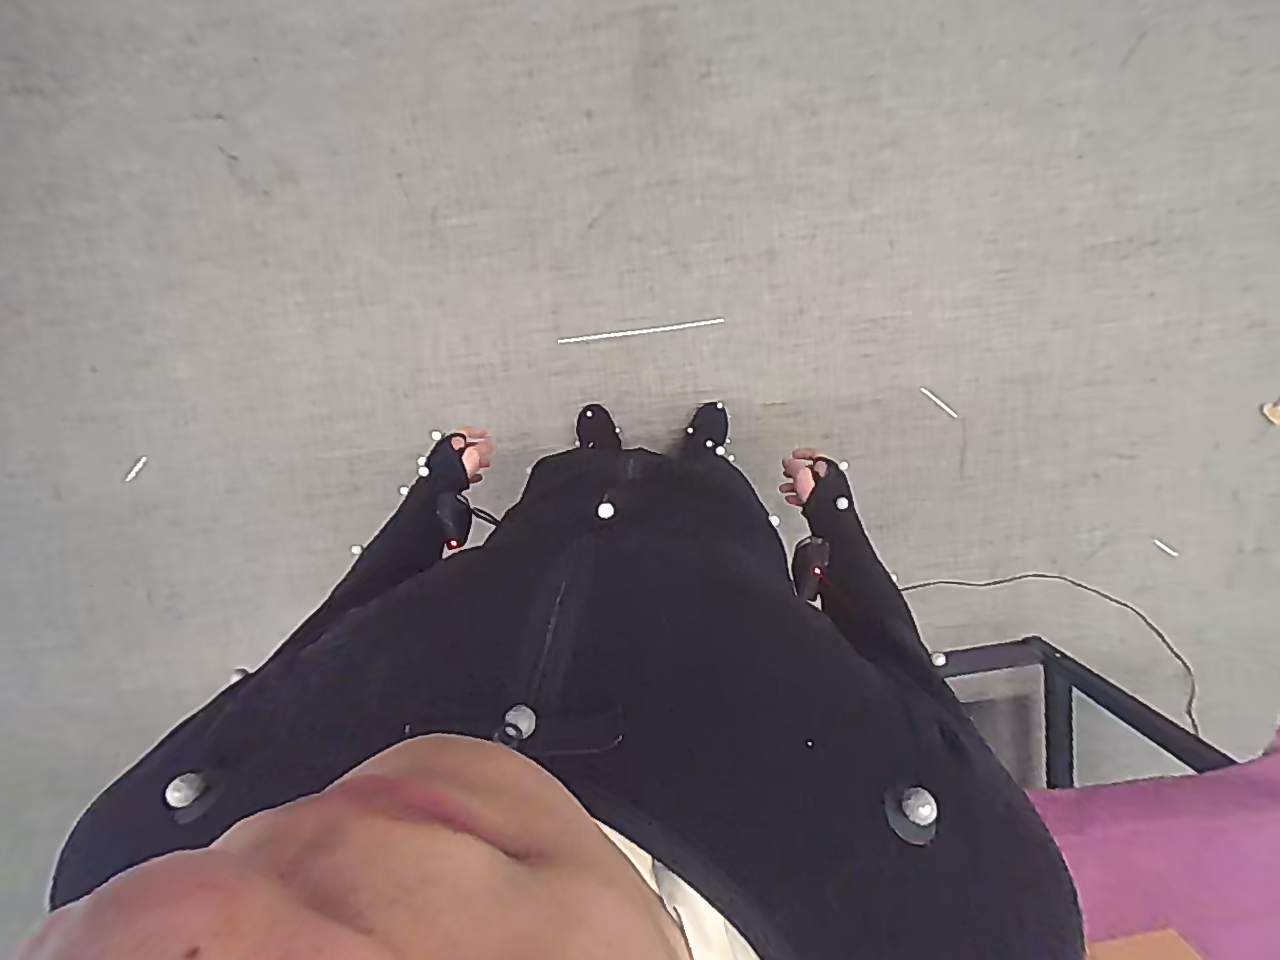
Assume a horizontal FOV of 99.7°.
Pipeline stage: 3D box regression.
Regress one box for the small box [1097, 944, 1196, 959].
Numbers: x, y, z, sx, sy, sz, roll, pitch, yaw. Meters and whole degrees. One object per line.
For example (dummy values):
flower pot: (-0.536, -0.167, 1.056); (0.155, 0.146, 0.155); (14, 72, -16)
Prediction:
small box: (0.977, 0.994, 0.980); (0.179, 0.176, 0.168); (-11, 99, 2)
